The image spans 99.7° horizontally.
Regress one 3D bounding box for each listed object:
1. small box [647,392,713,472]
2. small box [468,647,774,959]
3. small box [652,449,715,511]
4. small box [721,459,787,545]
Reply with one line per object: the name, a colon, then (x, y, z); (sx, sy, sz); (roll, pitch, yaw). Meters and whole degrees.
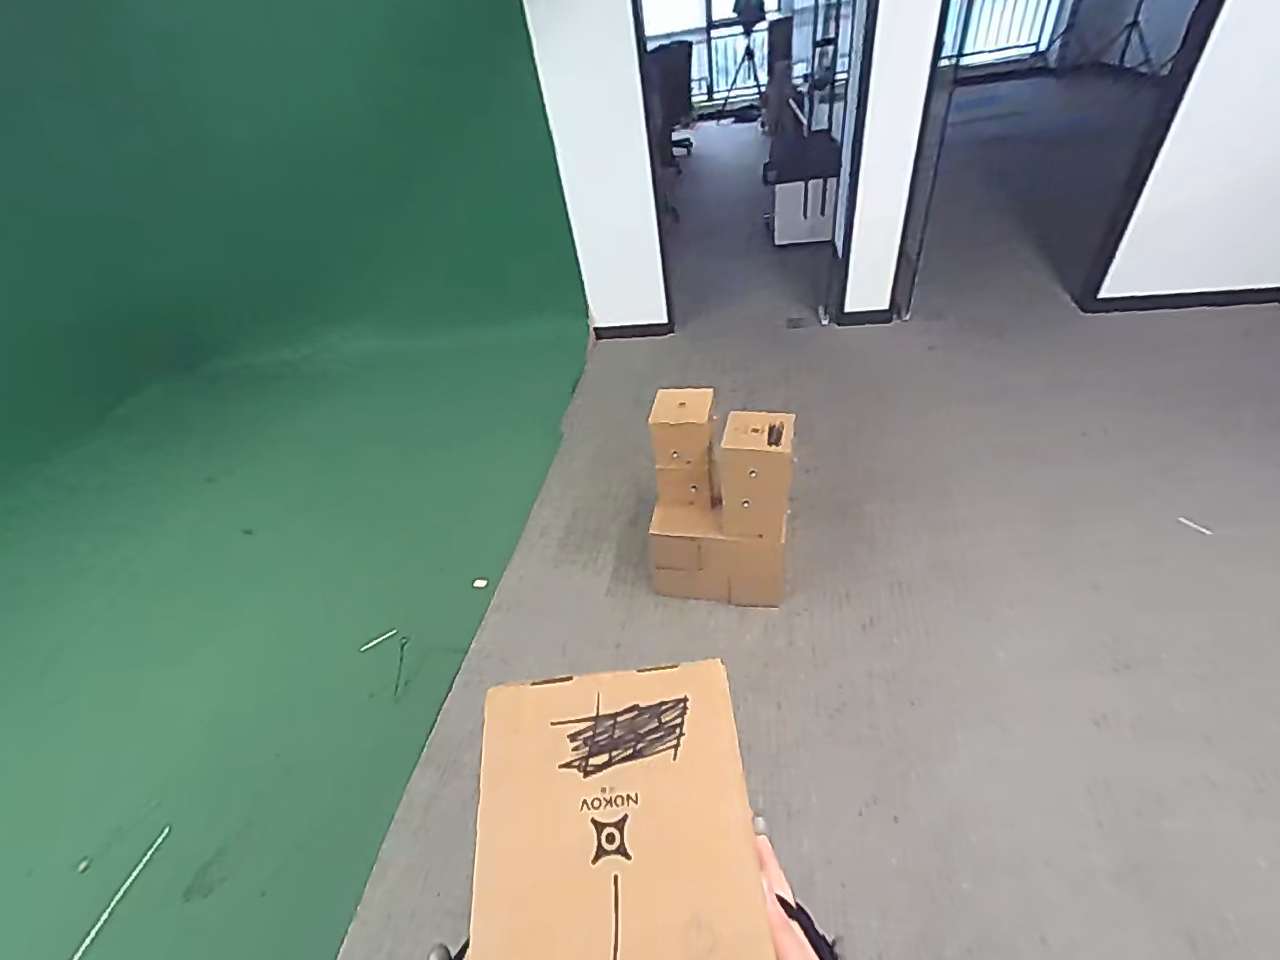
small box: (0.125, -0.143, 1.594); (0.168, 0.176, 0.179); (2, 41, 14)
small box: (-0.009, 0.240, 0.393); (0.168, 0.176, 0.179); (-7, 55, 2)
small box: (0.143, -0.018, 1.696); (0.168, 0.176, 0.179); (3, 40, 15)
small box: (0.329, 0.061, 1.559); (0.168, 0.176, 0.179); (4, 41, 16)
